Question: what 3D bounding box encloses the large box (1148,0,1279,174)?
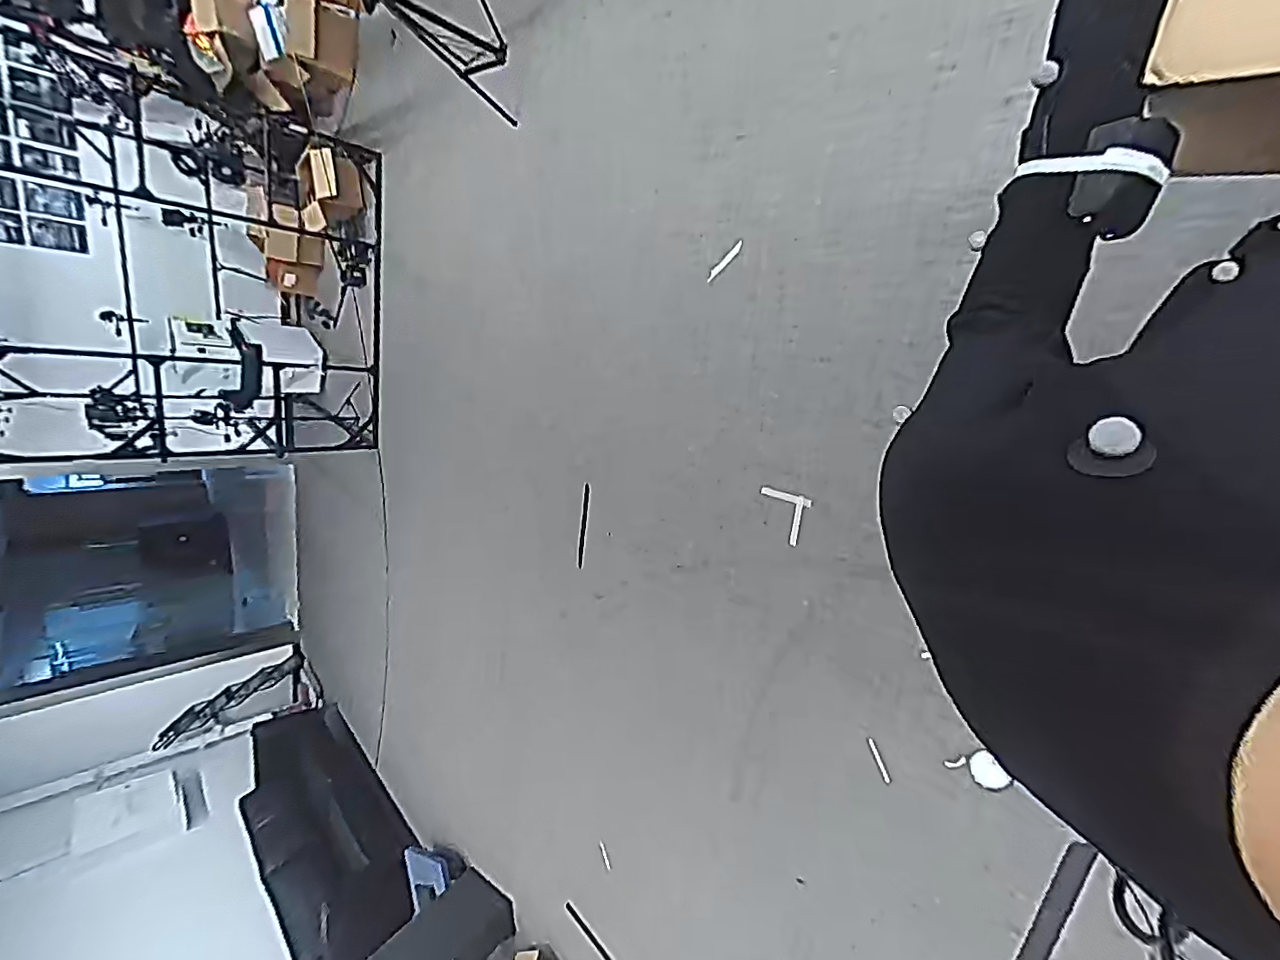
[{"bbox_3d":[0.608,-0.387,0.303,0.408,0.320,0.320,24,117,40],"label":"large box"}]
